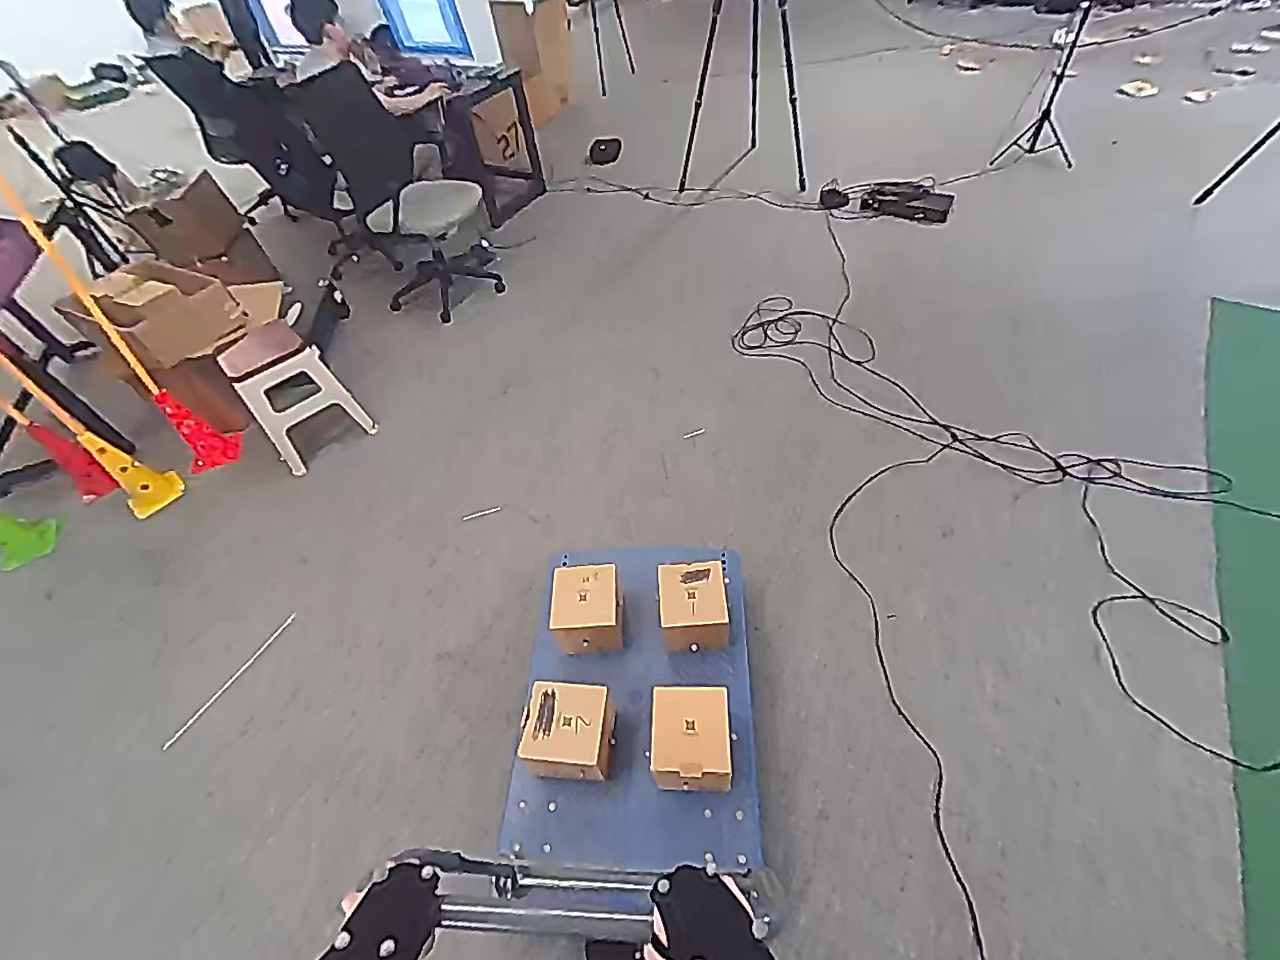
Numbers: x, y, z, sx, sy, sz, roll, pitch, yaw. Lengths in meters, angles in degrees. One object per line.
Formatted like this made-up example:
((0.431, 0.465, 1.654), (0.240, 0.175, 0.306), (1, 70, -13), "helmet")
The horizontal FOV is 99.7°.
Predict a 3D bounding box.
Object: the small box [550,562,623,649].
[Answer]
((-0.136, 0.340, 1.439), (0.168, 0.176, 0.179), (-3, 50, 3), "small box")

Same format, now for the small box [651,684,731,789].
((0.114, 0.576, 1.215), (0.168, 0.176, 0.179), (-1, 51, 6), "small box")

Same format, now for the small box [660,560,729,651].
((0.139, 0.329, 1.413), (0.168, 0.176, 0.179), (-4, 51, 4), "small box")
